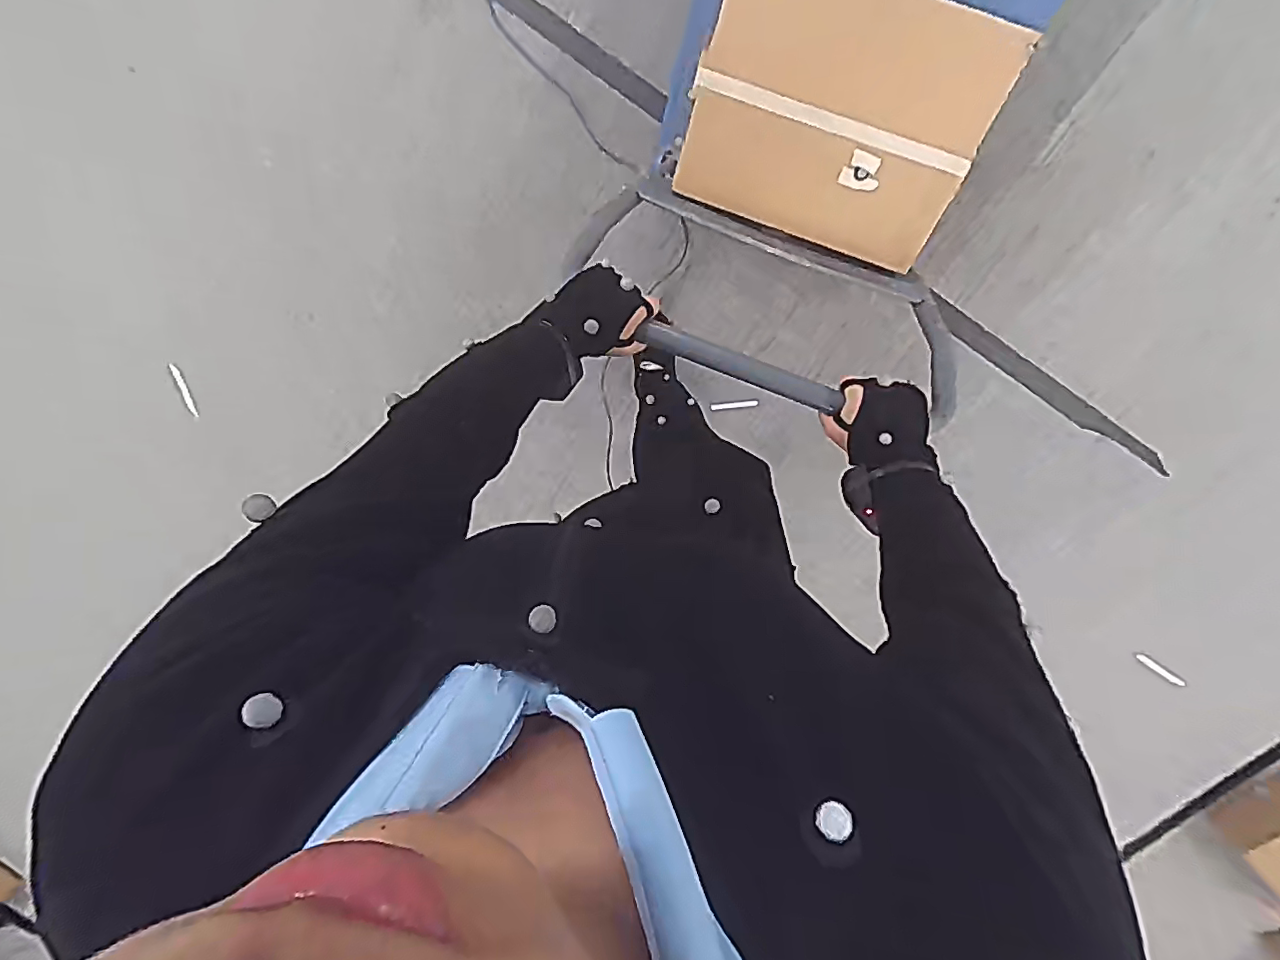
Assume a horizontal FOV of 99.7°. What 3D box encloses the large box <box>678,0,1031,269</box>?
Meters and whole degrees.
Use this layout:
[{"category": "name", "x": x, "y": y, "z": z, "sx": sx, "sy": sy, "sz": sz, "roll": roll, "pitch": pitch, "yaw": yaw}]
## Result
[{"category": "large box", "x": 0.314, "y": -0.604, "z": 0.913, "sx": 0.408, "sy": 0.320, "sz": 0.320, "roll": 20, "pitch": 127, "yaw": 1}]
